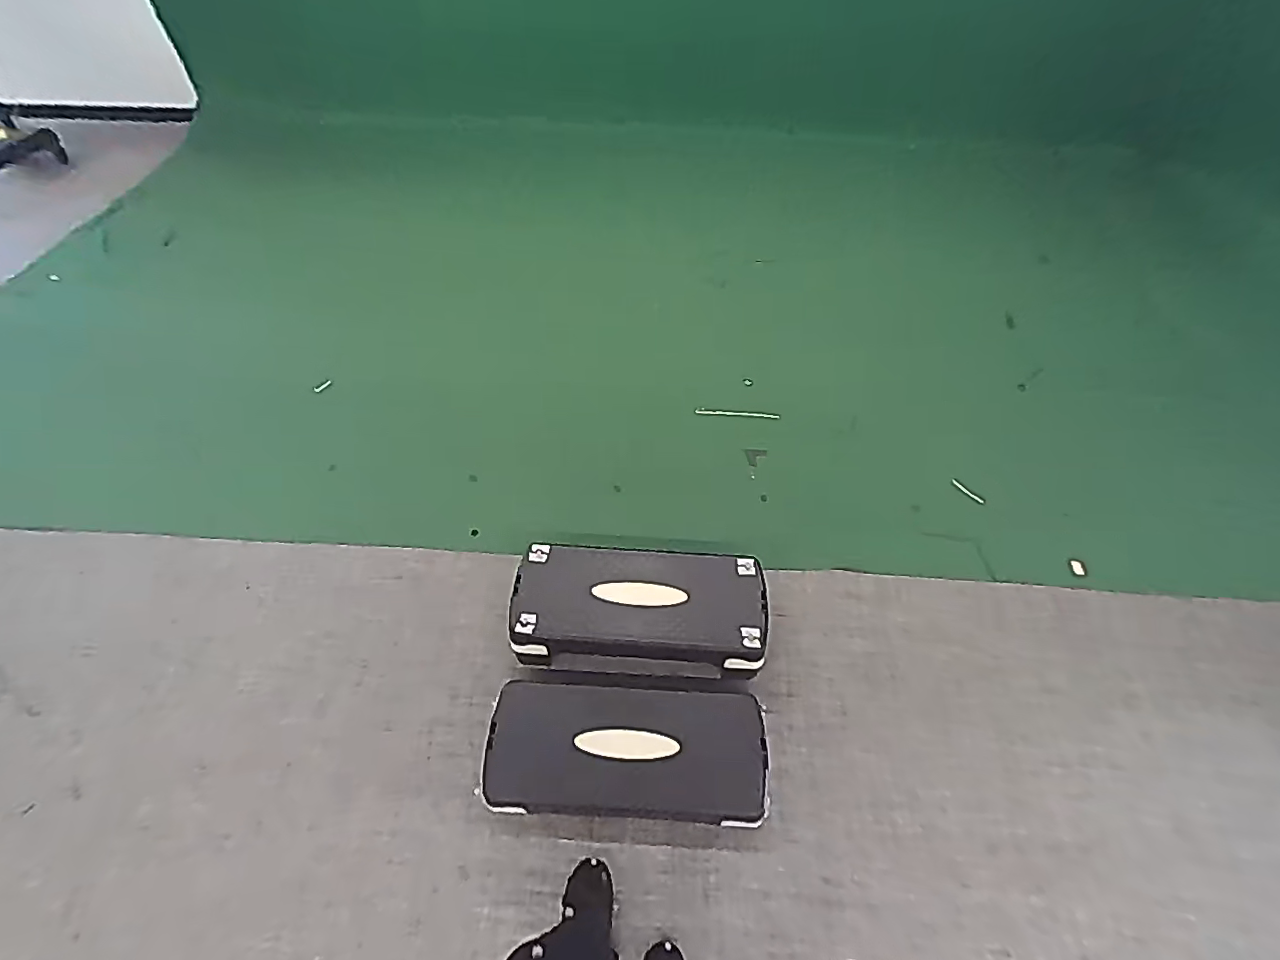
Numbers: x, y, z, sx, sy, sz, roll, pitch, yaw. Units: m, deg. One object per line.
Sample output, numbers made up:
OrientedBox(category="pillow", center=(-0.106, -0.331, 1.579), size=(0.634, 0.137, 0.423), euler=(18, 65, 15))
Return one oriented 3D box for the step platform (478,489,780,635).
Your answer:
OrientedBox(category="step platform", center=(-0.023, 0.204, 1.318), size=(0.684, 0.204, 0.286), euler=(2, 54, 2))
